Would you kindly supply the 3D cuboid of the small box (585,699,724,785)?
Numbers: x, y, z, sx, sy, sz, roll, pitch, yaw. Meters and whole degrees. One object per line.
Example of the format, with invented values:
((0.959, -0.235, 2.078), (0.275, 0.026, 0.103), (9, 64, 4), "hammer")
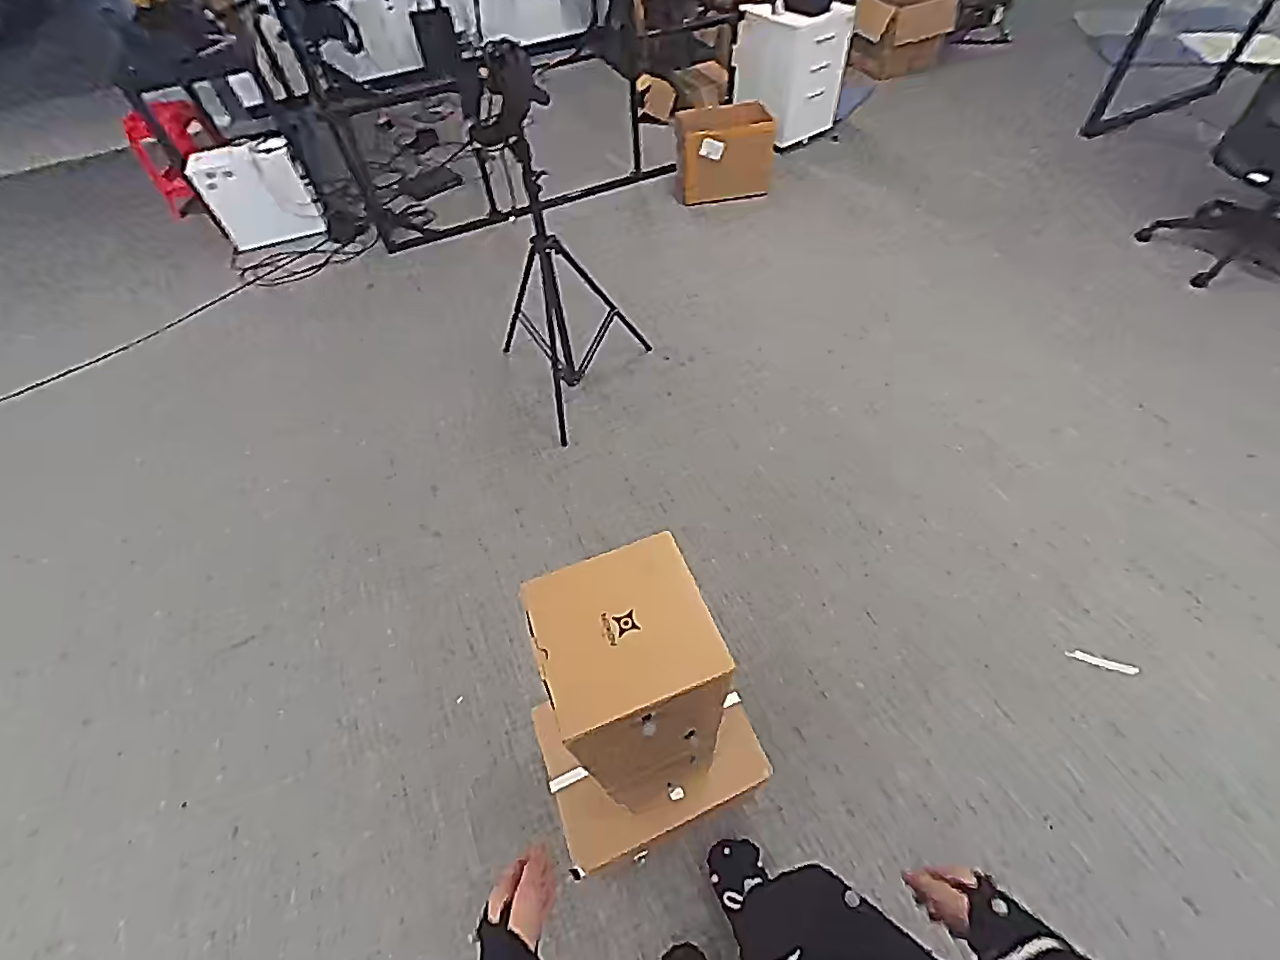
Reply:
((-0.004, 0.290, 0.738), (0.179, 0.176, 0.168), (-20, 55, -10), "small box")

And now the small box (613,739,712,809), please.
((0.018, 0.483, 1.003), (0.179, 0.176, 0.168), (-22, 56, -13), "small box")

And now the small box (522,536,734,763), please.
((-0.014, 0.194, 0.608), (0.179, 0.176, 0.168), (-20, 56, -9), "small box")
